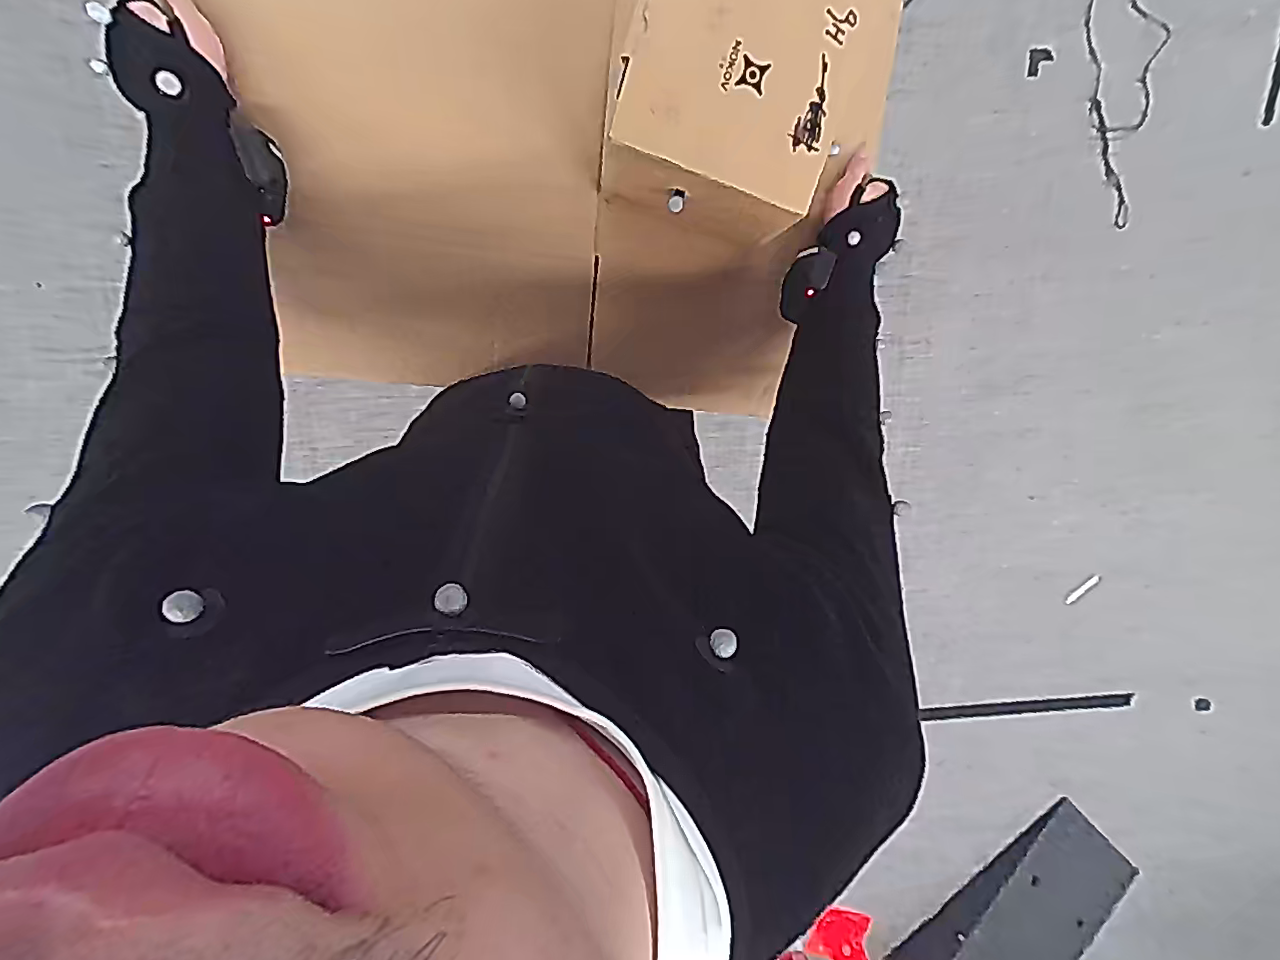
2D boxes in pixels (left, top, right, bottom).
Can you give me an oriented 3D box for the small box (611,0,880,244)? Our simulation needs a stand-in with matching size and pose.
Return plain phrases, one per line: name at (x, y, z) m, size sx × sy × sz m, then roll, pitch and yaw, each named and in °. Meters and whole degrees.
small box at (0.078, -0.342, 0.506) m, size 0.179 × 0.176 × 0.168 m, roll 17°, pitch 101°, yaw -7°
